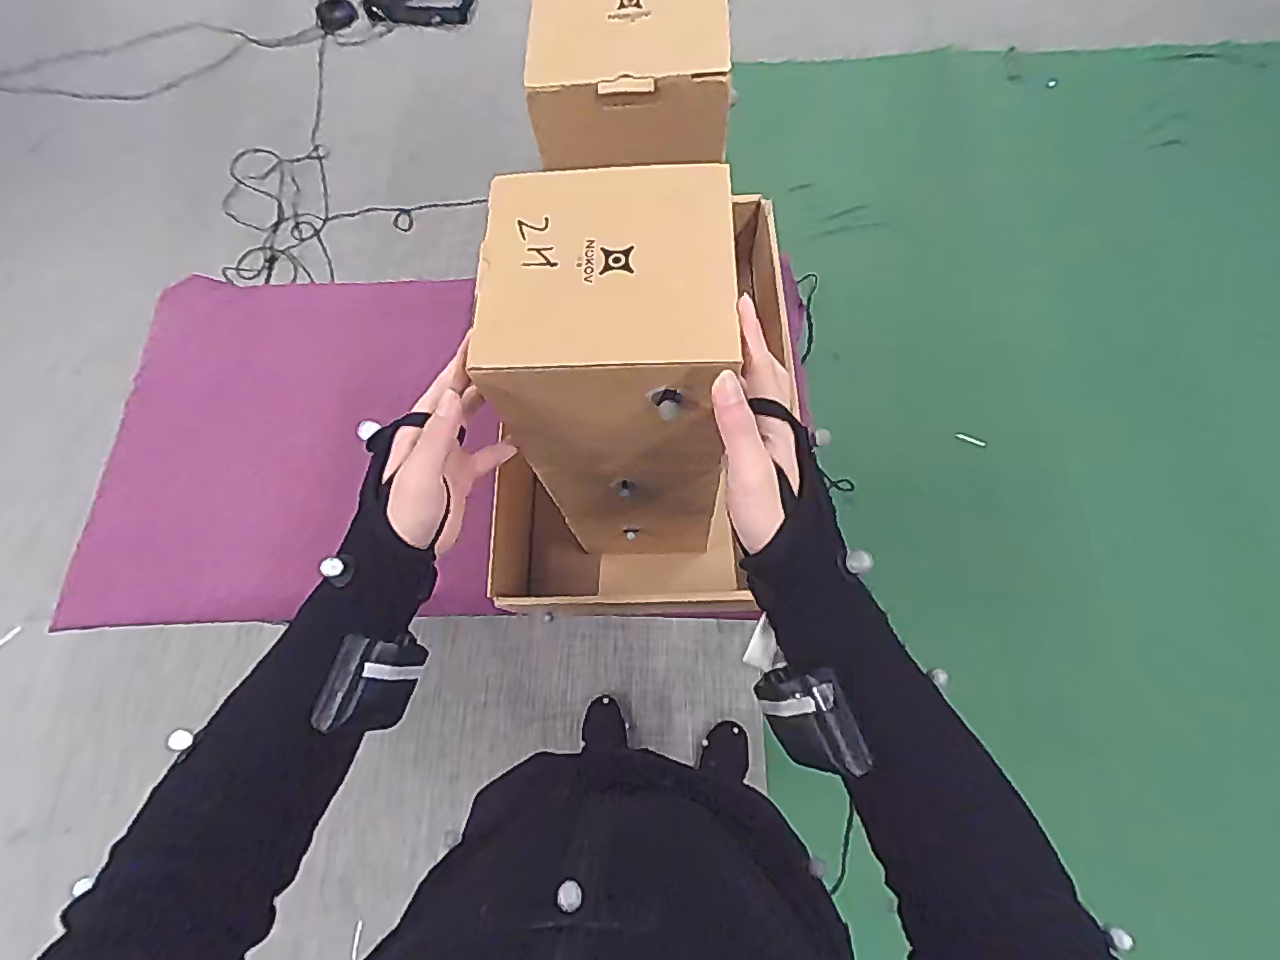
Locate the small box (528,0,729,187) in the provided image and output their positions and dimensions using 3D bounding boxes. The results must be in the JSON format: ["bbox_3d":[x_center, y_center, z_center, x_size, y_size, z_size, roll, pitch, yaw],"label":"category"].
[{"bbox_3d":[-0.001,-0.349,0.531,0.168,0.176,0.179,0,71,4],"label":"small box"}]

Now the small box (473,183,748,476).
[{"bbox_3d":[-0.014,-0.108,0.439,0.179,0.176,0.168,0,69,4],"label":"small box"}]

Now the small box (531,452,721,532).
[{"bbox_3d":[-0.005,-0.044,0.591,0.179,0.176,0.168,1,69,4],"label":"small box"}]
